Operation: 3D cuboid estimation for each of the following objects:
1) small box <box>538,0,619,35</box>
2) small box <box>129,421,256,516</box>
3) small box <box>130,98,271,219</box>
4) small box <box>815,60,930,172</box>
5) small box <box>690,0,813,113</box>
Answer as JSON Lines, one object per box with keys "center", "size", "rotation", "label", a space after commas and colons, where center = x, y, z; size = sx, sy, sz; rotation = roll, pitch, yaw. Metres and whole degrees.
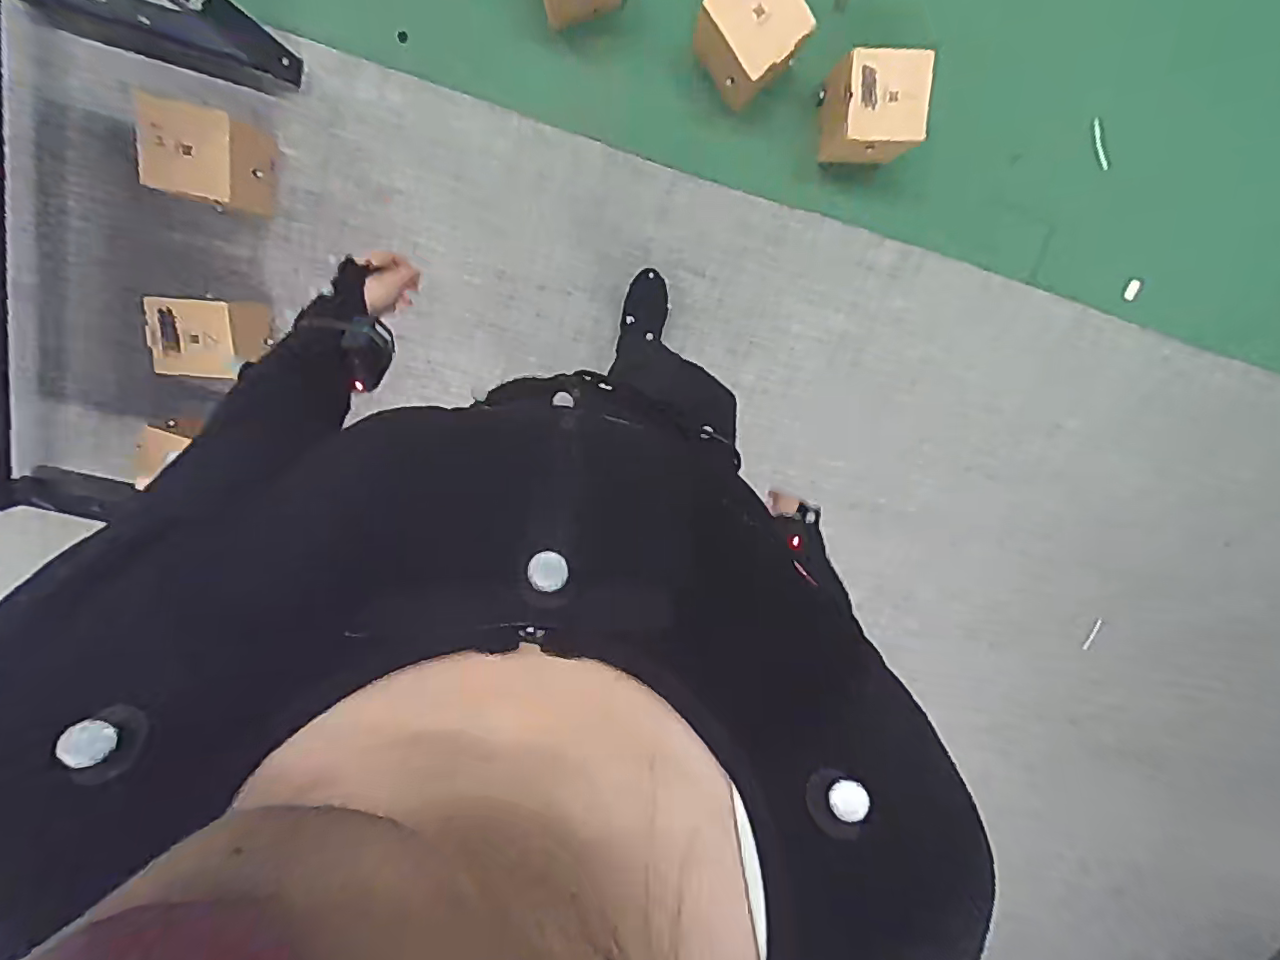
{"center": [-0.141, -1.057, 1.090], "size": [0.168, 0.176, 0.179], "rotation": [-16, 106, 1], "label": "small box"}
{"center": [-1.089, -0.036, 1.328], "size": [0.179, 0.176, 0.168], "rotation": [19, 104, -8], "label": "small box"}
{"center": [-0.921, -0.671, 1.152], "size": [0.179, 0.176, 0.168], "rotation": [10, 105, -6], "label": "small box"}
{"center": [0.505, -0.799, 1.202], "size": [0.179, 0.176, 0.168], "rotation": [-1, 106, -4], "label": "small box"}
{"center": [0.229, -0.925, 1.151], "size": [0.168, 0.176, 0.179], "rotation": [-39, 104, 7], "label": "small box"}
